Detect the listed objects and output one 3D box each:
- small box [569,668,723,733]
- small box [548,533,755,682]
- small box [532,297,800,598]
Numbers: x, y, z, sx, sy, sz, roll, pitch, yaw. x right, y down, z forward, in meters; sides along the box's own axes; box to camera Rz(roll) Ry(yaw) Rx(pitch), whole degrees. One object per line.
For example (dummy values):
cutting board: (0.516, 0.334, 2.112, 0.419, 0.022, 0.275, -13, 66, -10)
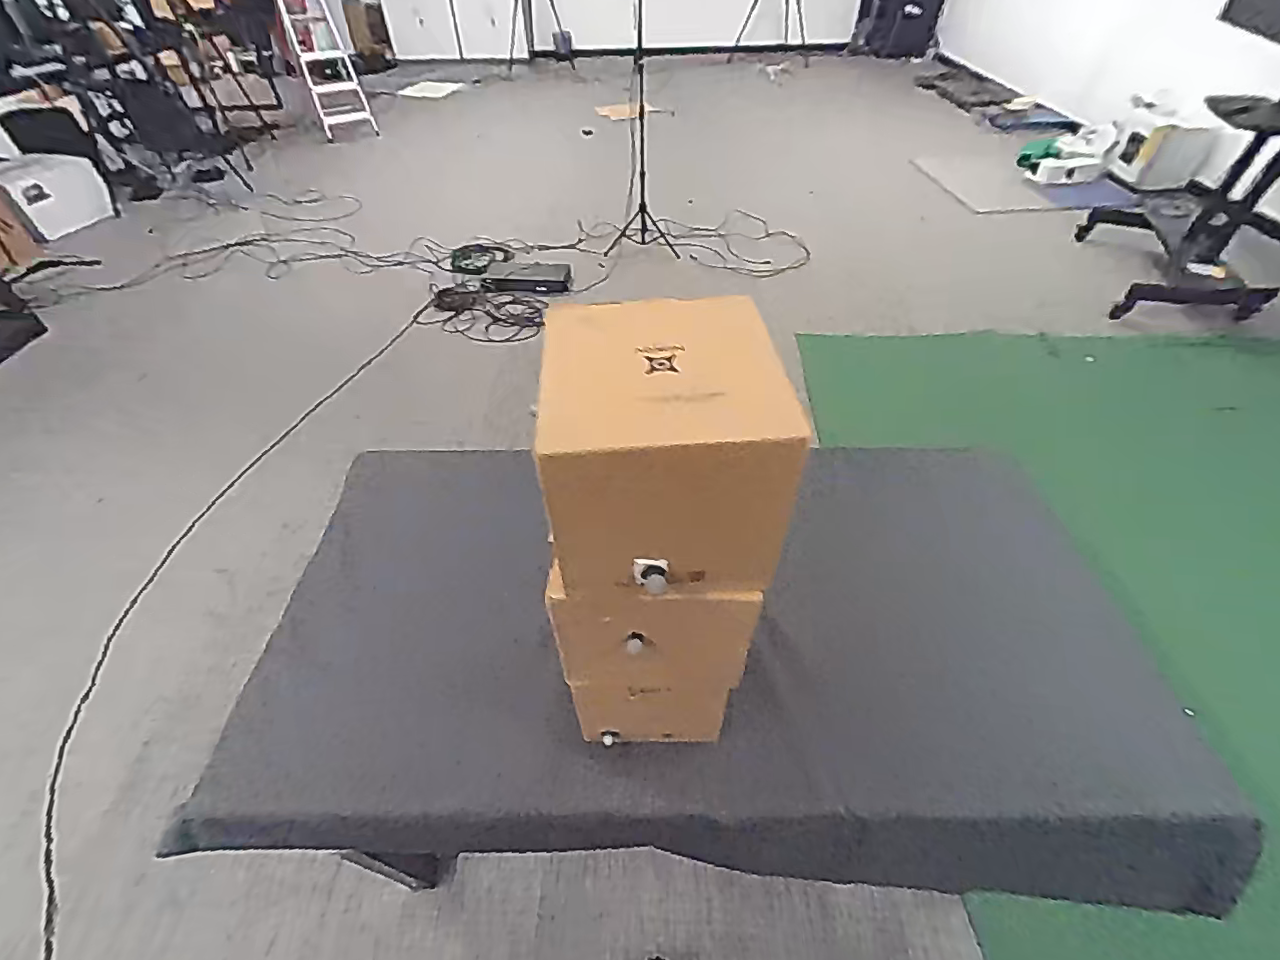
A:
small box: (0.011, 0.200, 0.673, 0.168, 0.176, 0.179, -1, 45, 1)
small box: (0.010, 0.092, 0.555, 0.179, 0.176, 0.168, -2, 44, -1)
small box: (0.012, -0.027, 0.439, 0.168, 0.176, 0.179, -5, 47, -2)
